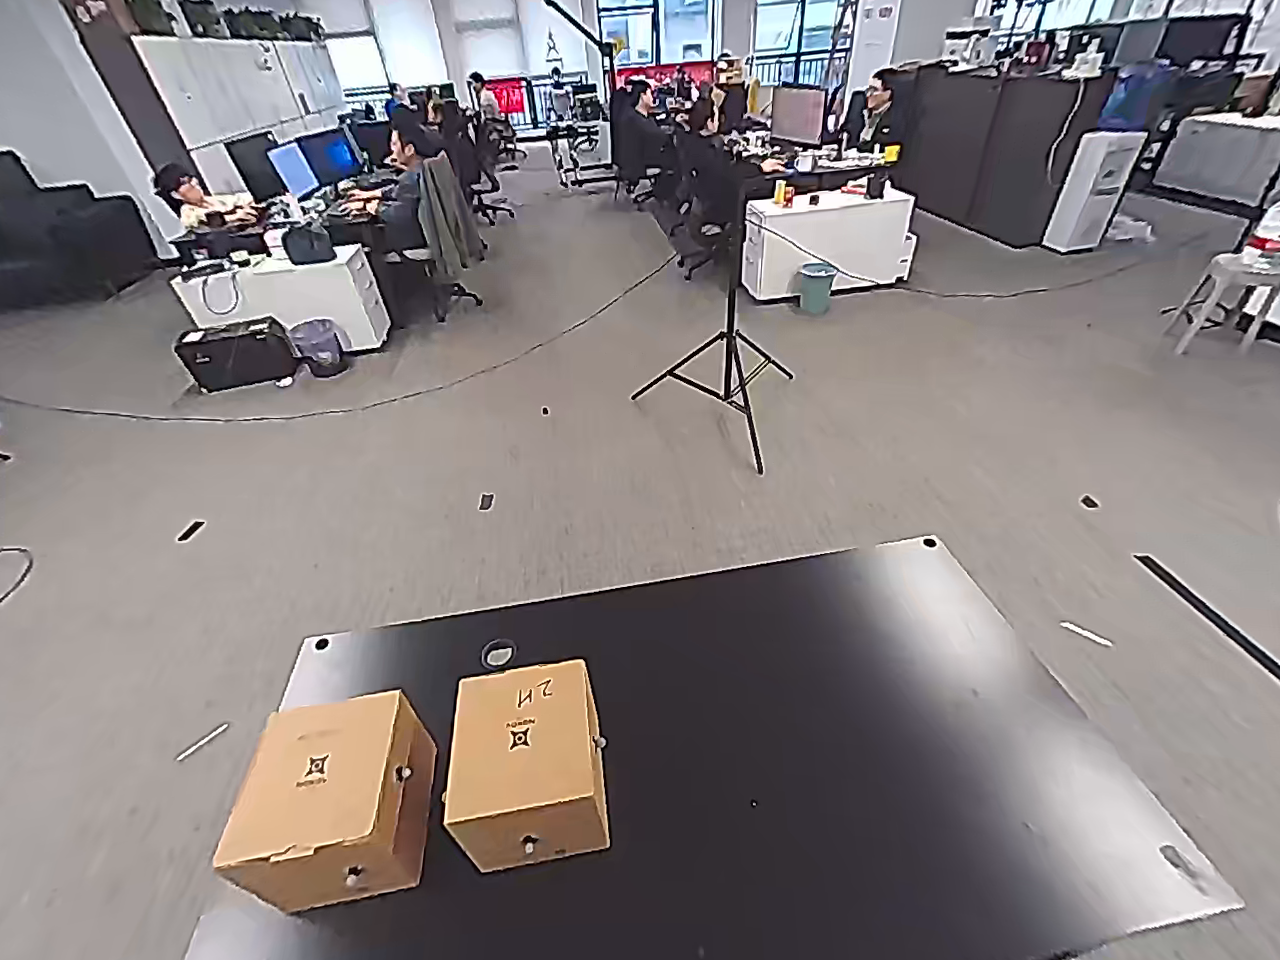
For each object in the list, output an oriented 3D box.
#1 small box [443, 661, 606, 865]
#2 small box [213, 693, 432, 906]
[{"bbox_3d":[-0.139,0.368,0.699,0.168,0.176,0.179,-8,39,-5],"label":"small box"},{"bbox_3d":[-0.375,0.405,0.684,0.168,0.176,0.179,-8,38,-6],"label":"small box"}]
